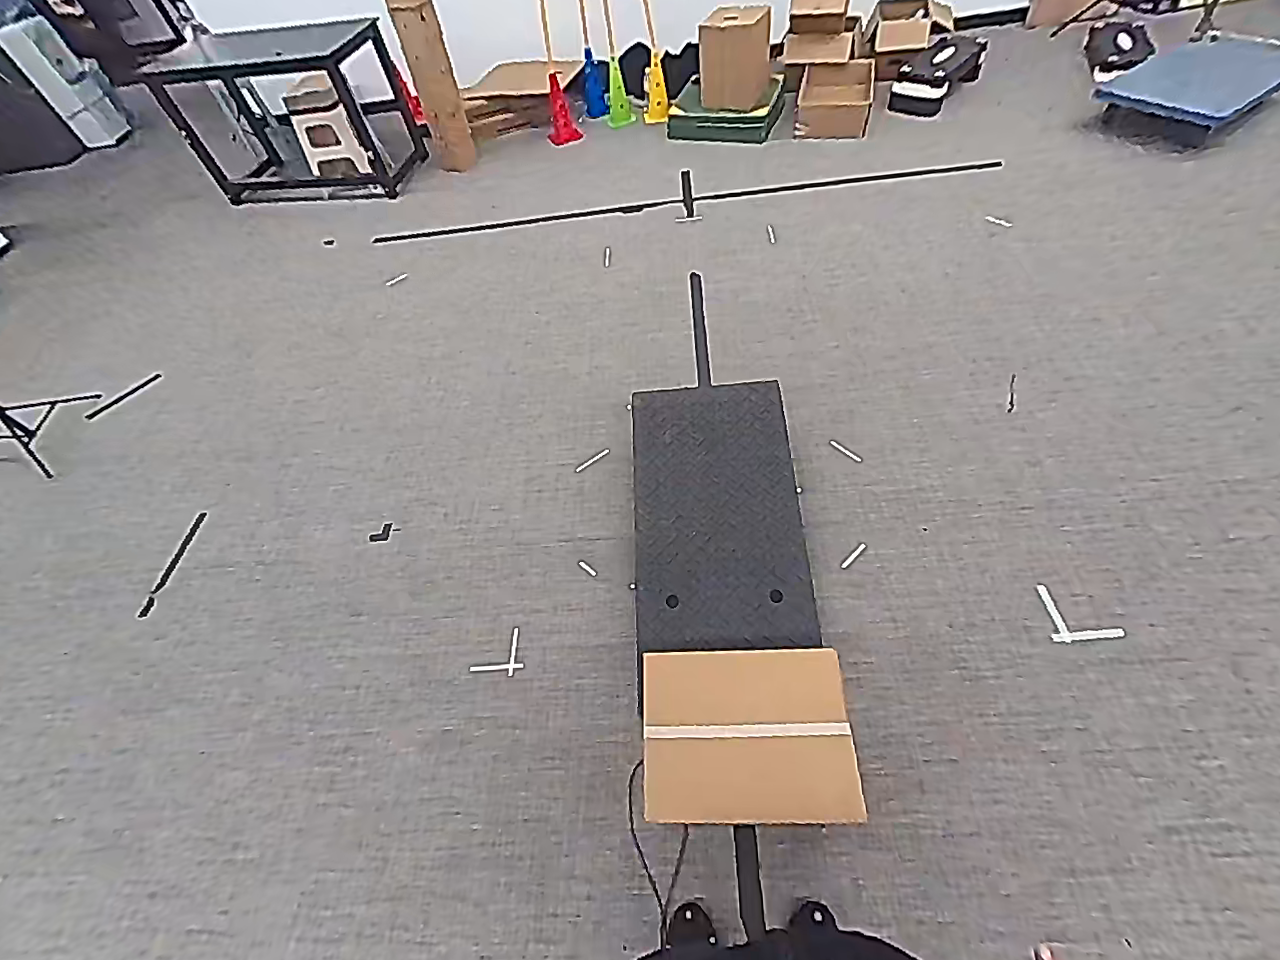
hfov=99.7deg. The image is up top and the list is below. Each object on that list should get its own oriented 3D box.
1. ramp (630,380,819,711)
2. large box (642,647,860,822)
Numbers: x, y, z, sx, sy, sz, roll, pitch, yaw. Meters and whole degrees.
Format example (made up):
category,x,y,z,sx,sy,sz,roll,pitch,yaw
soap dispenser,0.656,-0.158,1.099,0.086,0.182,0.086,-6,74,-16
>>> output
category,x,y,z,sx,sy,sz,roll,pitch,yaw
ramp,0.222,0.136,1.598,0.509,0.206,0.991,-4,54,3
large box,0.220,0.572,1.200,0.408,0.320,0.320,-3,57,5
